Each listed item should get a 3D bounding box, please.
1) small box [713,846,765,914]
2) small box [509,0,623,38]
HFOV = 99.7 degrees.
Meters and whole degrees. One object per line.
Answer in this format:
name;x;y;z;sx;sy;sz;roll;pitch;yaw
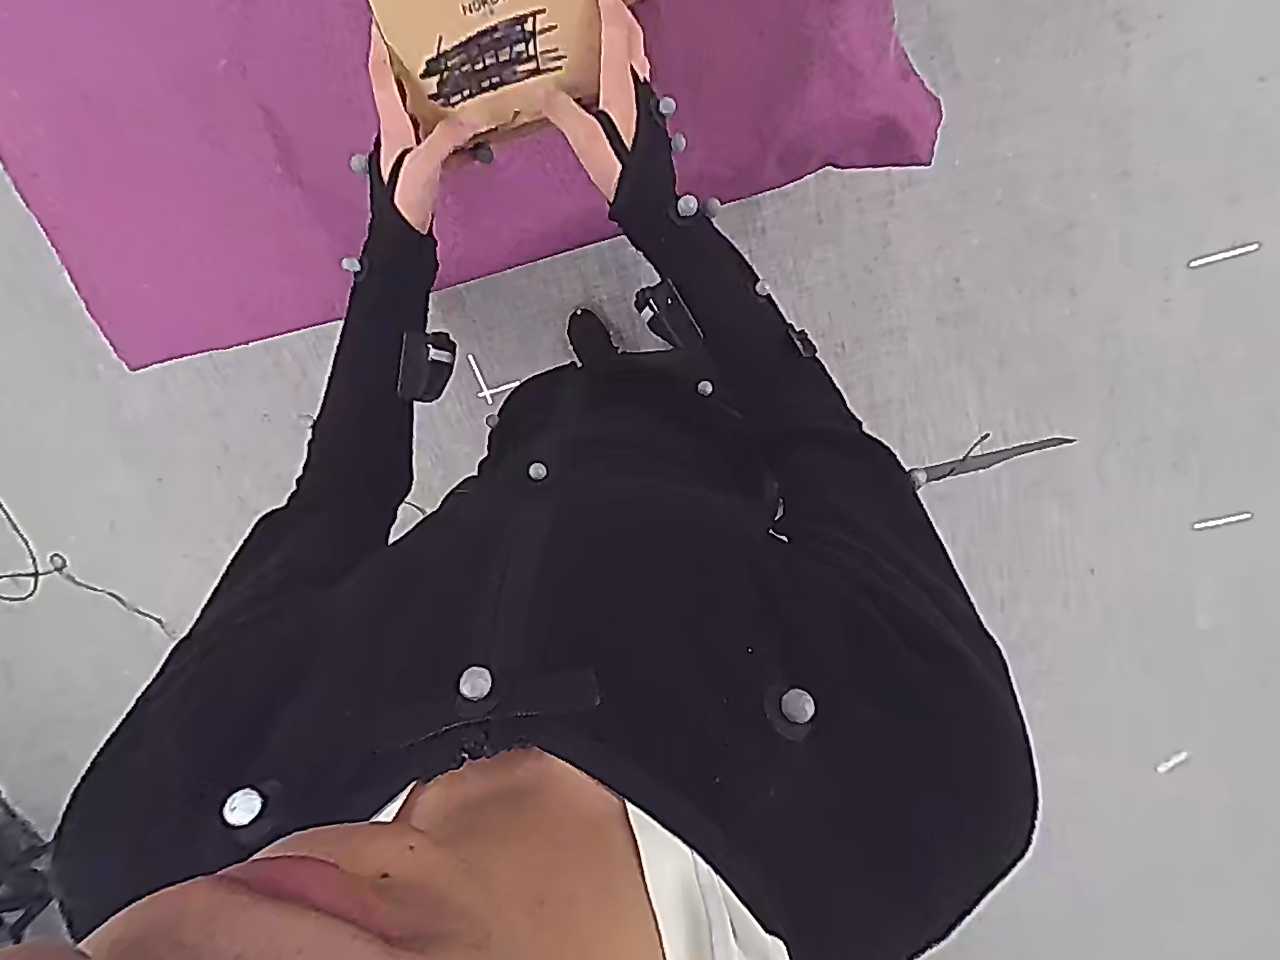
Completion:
small box;0.411;1.668;2.265;0.179;0.176;0.168;-14;111;10
small box;-0.084;-0.621;0.570;0.179;0.176;0.168;-18;109;10
